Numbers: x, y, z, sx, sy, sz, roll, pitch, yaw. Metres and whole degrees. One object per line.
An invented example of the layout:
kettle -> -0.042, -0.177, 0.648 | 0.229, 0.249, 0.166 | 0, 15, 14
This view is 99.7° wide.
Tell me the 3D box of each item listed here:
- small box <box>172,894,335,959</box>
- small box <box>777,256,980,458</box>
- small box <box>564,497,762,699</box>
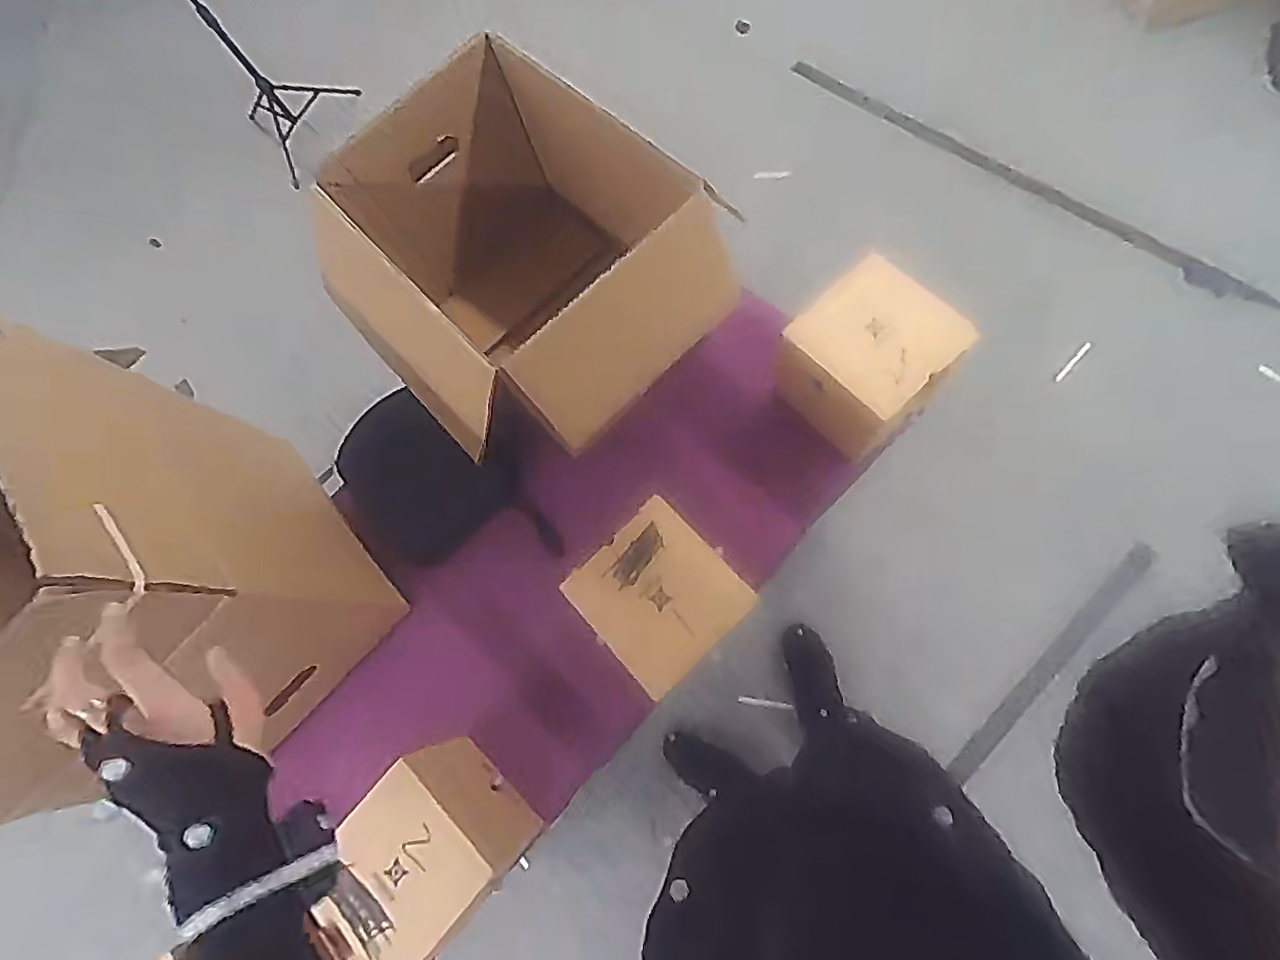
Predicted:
small box -> -0.499, 0.660, 0.644 | 0.168, 0.176, 0.179 | 41, 83, 18
small box -> 0.306, -0.157, 0.743 | 0.168, 0.176, 0.179 | -41, 71, -3
small box -> 0.034, 0.154, 0.701 | 0.168, 0.176, 0.179 | -44, 73, -4
